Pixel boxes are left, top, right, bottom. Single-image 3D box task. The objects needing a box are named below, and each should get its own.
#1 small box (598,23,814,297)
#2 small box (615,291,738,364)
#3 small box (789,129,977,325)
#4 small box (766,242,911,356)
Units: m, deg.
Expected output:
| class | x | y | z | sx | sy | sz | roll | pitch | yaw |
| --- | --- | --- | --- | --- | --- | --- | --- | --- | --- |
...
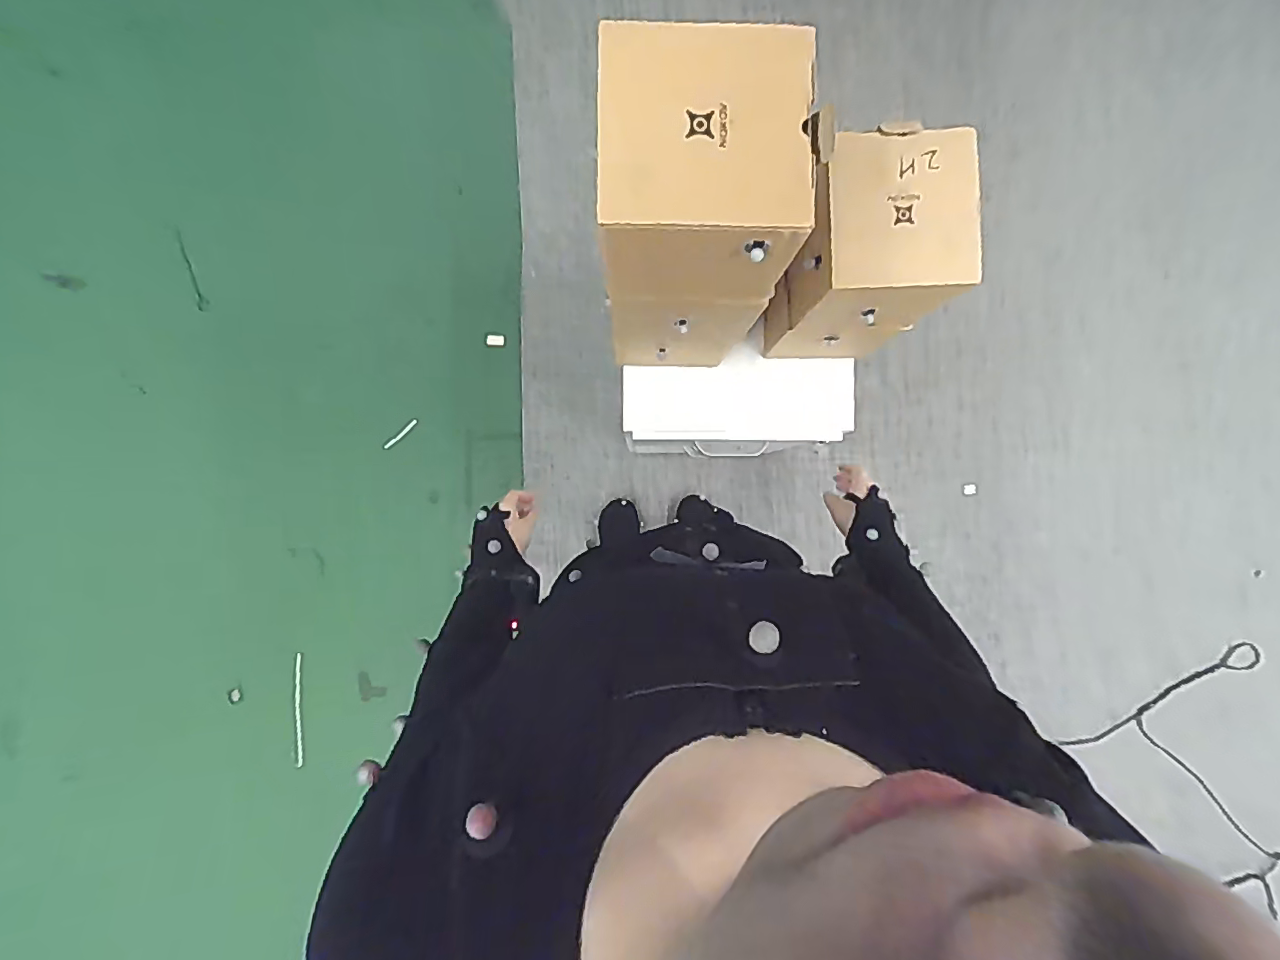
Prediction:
| class | x | y | z | sx | sy | sz | roll | pitch | yaw |
| --- | --- | --- | --- | --- | --- | --- | --- | --- | --- |
| small box | 0.053 | -0.284 | 0.517 | 0.179 | 0.176 | 0.168 | 0 | 89 | -2 |
| small box | 0.051 | -0.281 | 0.845 | 0.179 | 0.176 | 0.168 | 1 | 90 | -2 |
| small box | 0.291 | -0.300 | 0.680 | 0.168 | 0.176 | 0.179 | -2 | 89 | 0 |
| small box | 0.298 | -0.294 | 0.845 | 0.179 | 0.176 | 0.168 | 0 | 90 | 0 |
